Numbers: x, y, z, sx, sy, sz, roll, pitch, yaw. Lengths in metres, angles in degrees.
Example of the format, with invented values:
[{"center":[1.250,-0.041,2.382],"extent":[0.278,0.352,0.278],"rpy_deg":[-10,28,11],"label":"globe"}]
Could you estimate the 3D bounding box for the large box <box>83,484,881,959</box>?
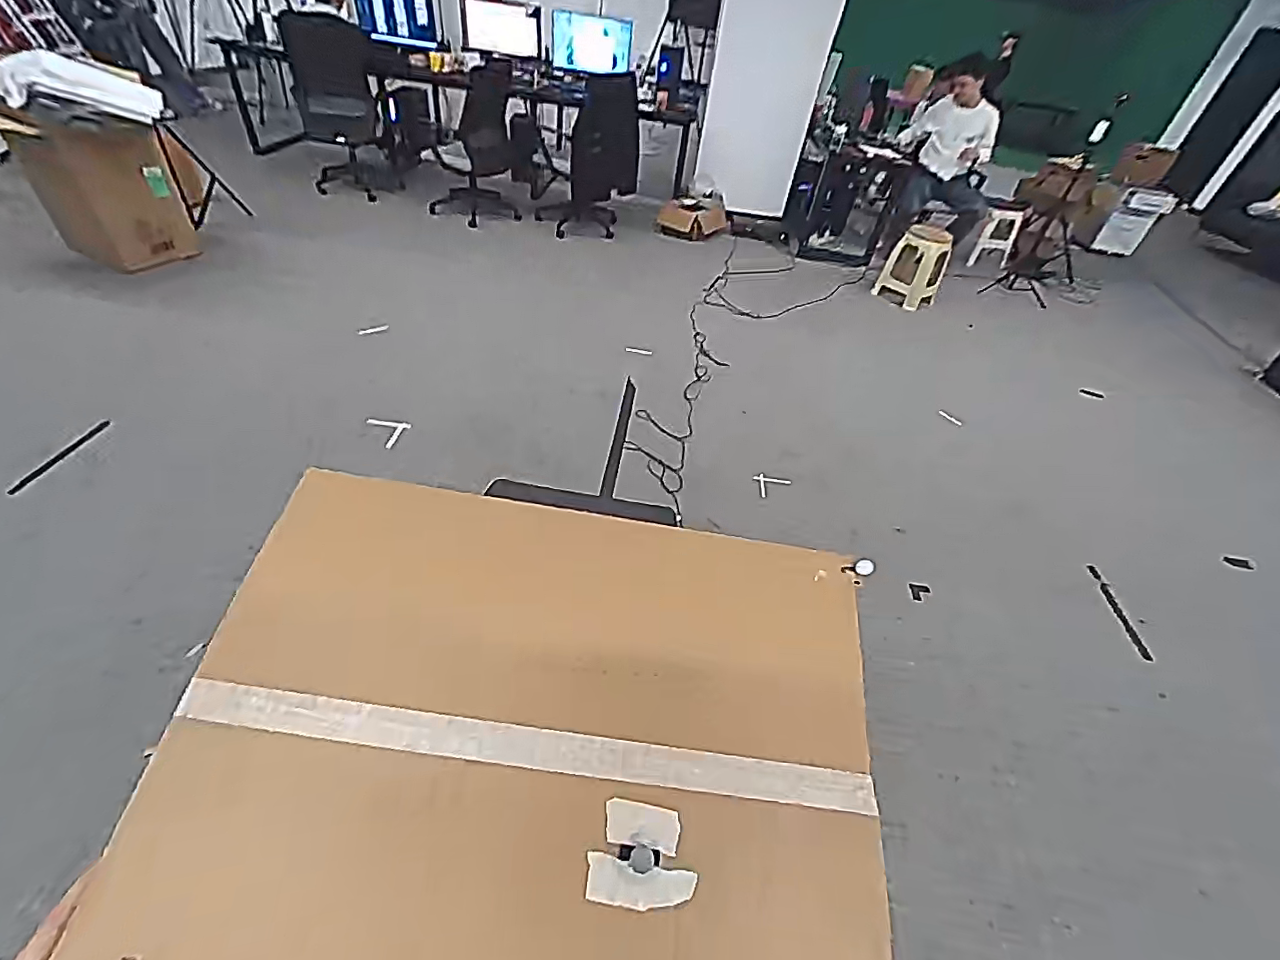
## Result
[{"center":[-0.074,0.235,0.452],"extent":[0.408,0.320,0.320],"rpy_deg":[9,59,-2],"label":"large box"}]
